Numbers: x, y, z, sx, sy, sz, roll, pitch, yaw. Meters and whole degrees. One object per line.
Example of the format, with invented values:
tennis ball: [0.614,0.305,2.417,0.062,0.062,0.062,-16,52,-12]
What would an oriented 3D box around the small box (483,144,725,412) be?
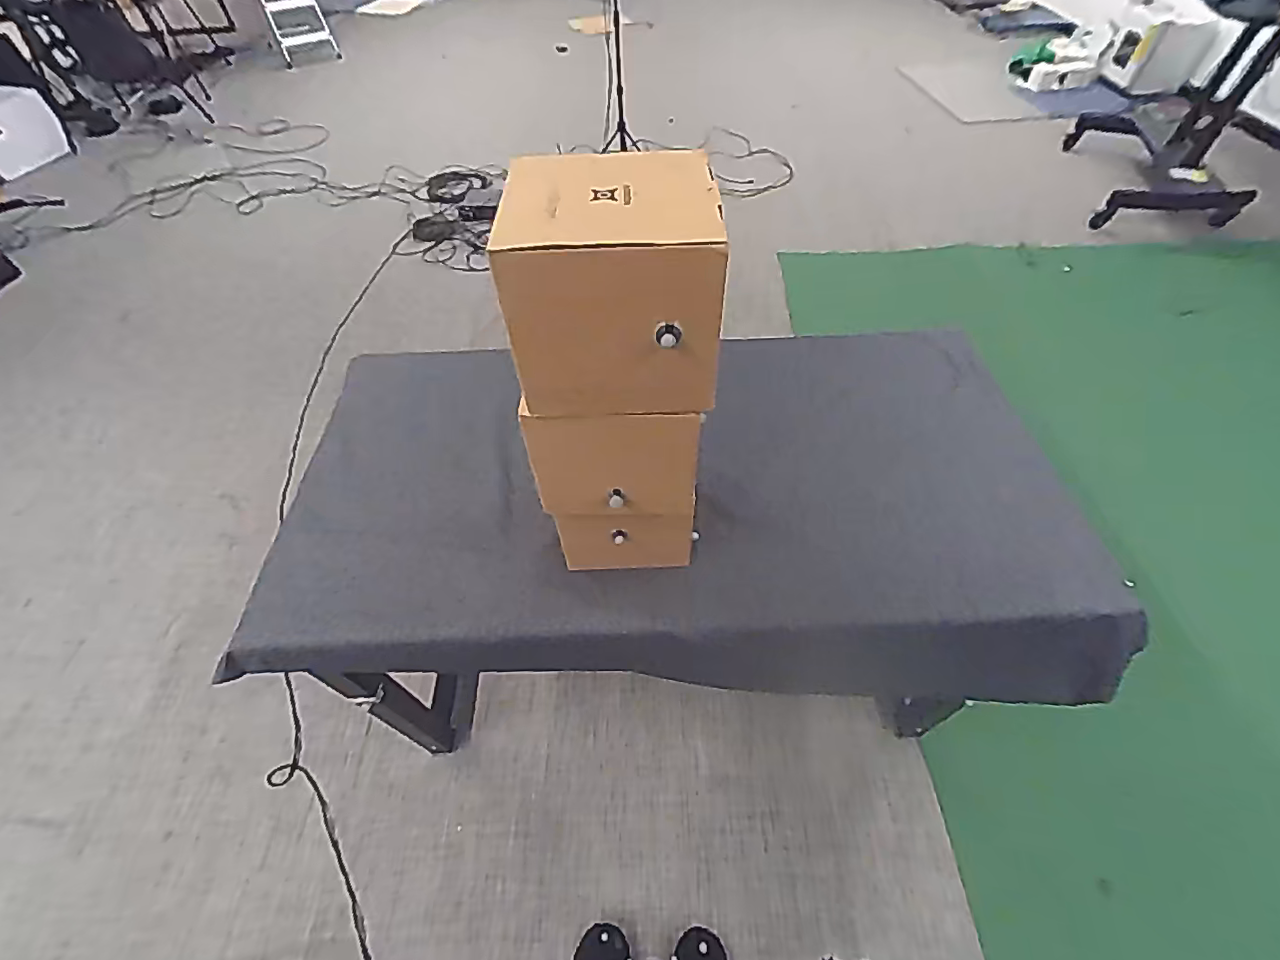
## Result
small box: [-0.025,-0.179,0.495,0.179,0.176,0.168,-3,51,1]

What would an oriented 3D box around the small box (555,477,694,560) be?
small box: [-0.020,0.002,0.766,0.179,0.176,0.168,-3,52,1]

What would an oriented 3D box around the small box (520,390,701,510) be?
small box: [-0.028,-0.078,0.626,0.179,0.176,0.168,-3,54,1]
